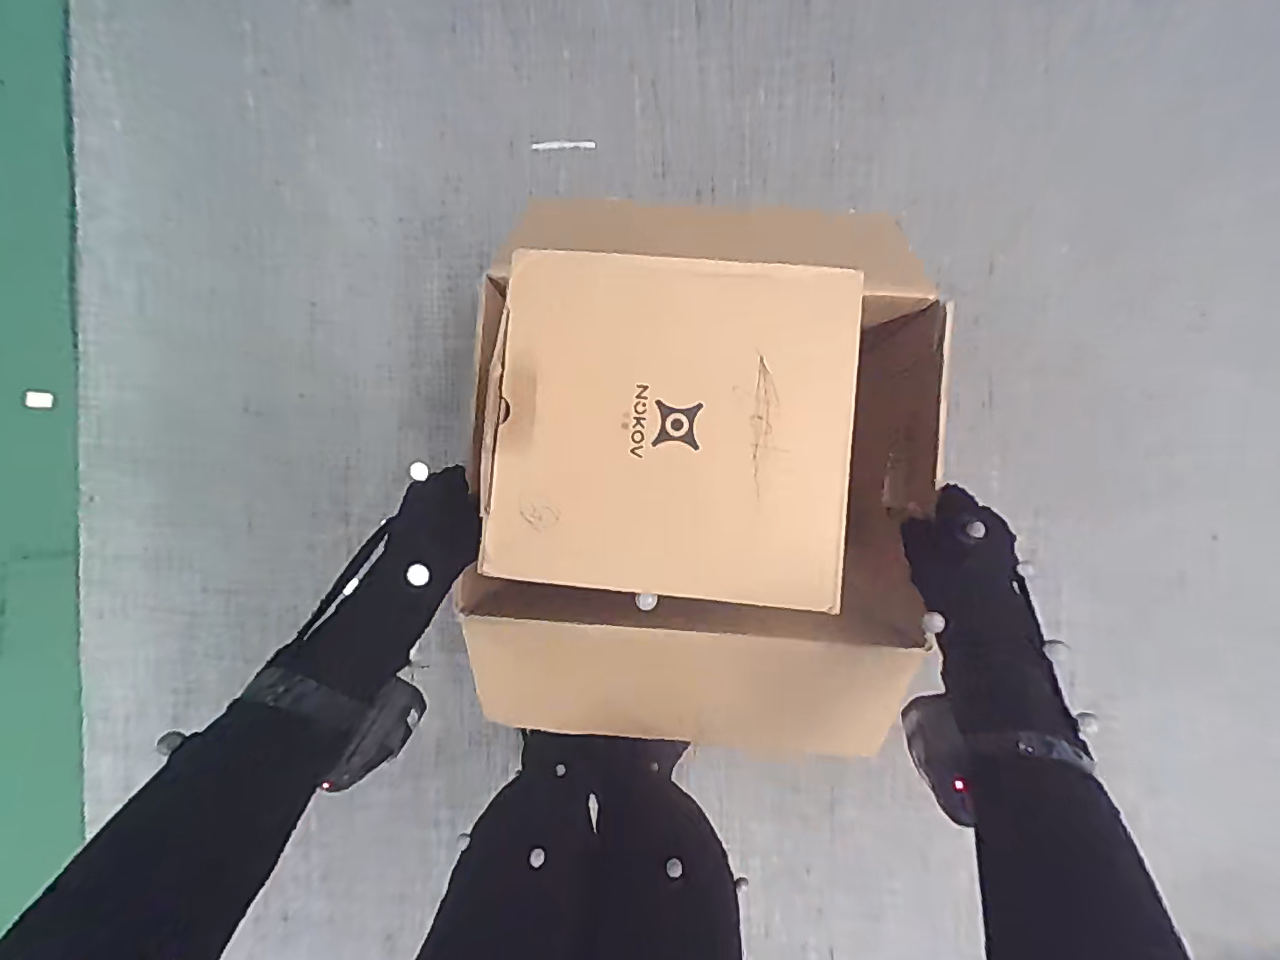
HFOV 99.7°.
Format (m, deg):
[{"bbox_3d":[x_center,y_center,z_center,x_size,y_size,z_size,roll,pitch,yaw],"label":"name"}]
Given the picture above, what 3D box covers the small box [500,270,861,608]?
[{"bbox_3d":[0.024,-0.020,0.353,0.179,0.176,0.168,3,88,2],"label":"small box"}]
